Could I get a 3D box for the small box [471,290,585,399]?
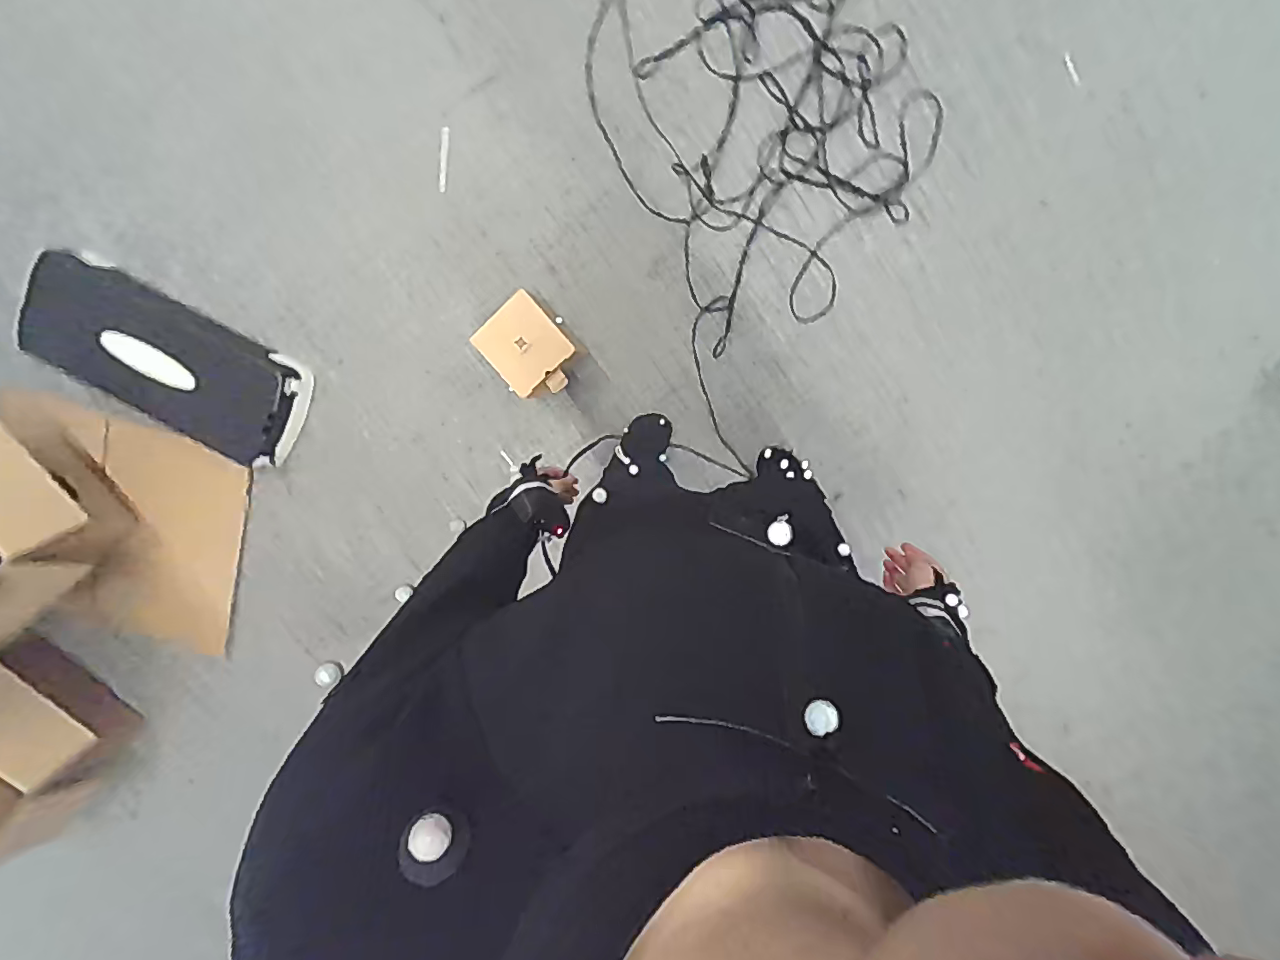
[{"bbox_3d":[-0.249,-0.304,1.245,0.168,0.176,0.179,-41,97,9],"label":"small box"}]
